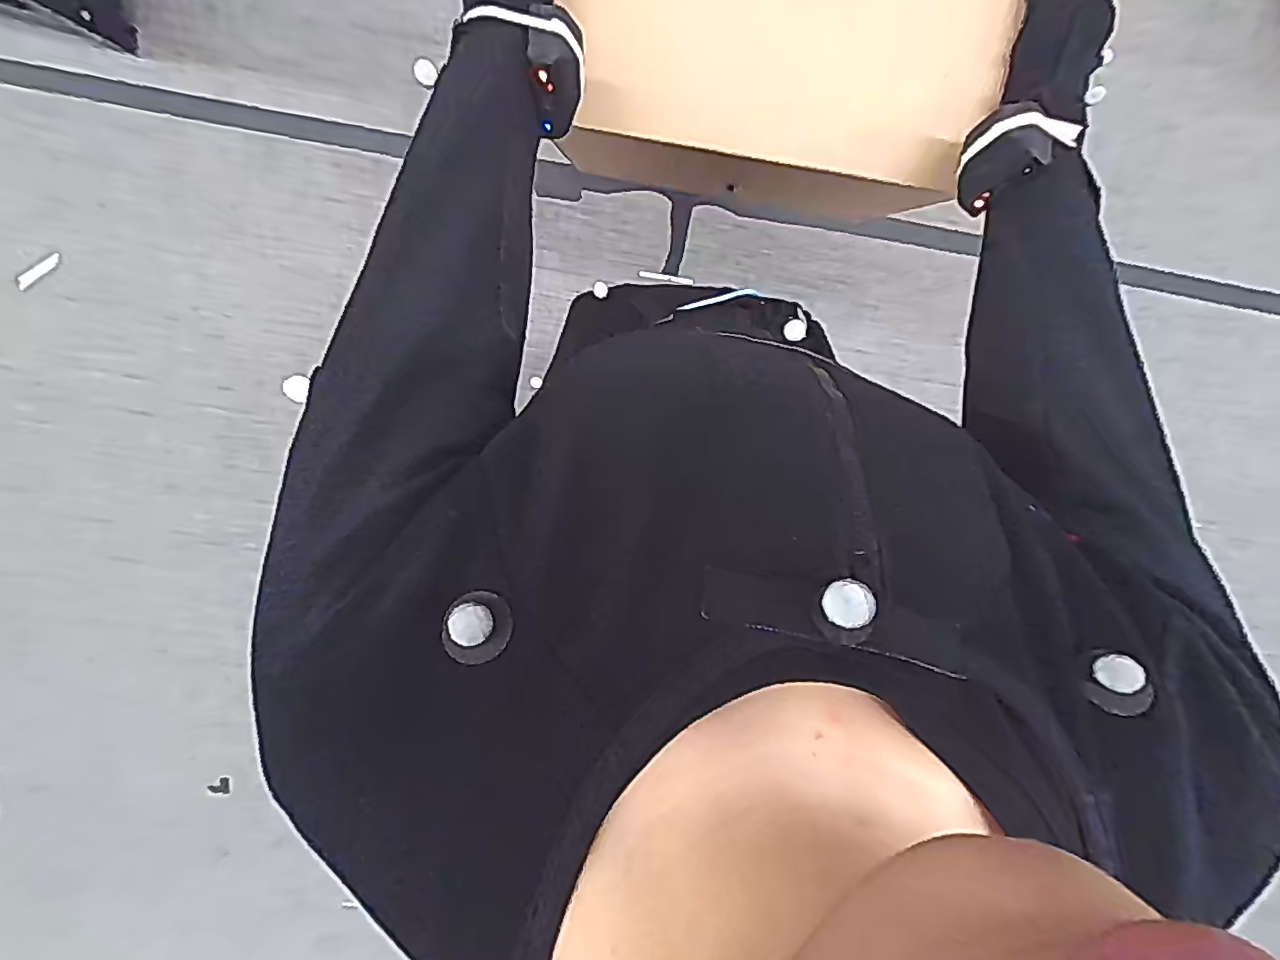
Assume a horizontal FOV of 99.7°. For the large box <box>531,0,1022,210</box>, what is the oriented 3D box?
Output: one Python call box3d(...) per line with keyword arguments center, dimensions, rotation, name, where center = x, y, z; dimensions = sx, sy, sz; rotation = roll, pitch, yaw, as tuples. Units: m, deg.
box3d(center=(0.129, -0.494, 0.569), dimensions=(0.408, 0.320, 0.320), rotation=(10, 111, -1), name="large box")
